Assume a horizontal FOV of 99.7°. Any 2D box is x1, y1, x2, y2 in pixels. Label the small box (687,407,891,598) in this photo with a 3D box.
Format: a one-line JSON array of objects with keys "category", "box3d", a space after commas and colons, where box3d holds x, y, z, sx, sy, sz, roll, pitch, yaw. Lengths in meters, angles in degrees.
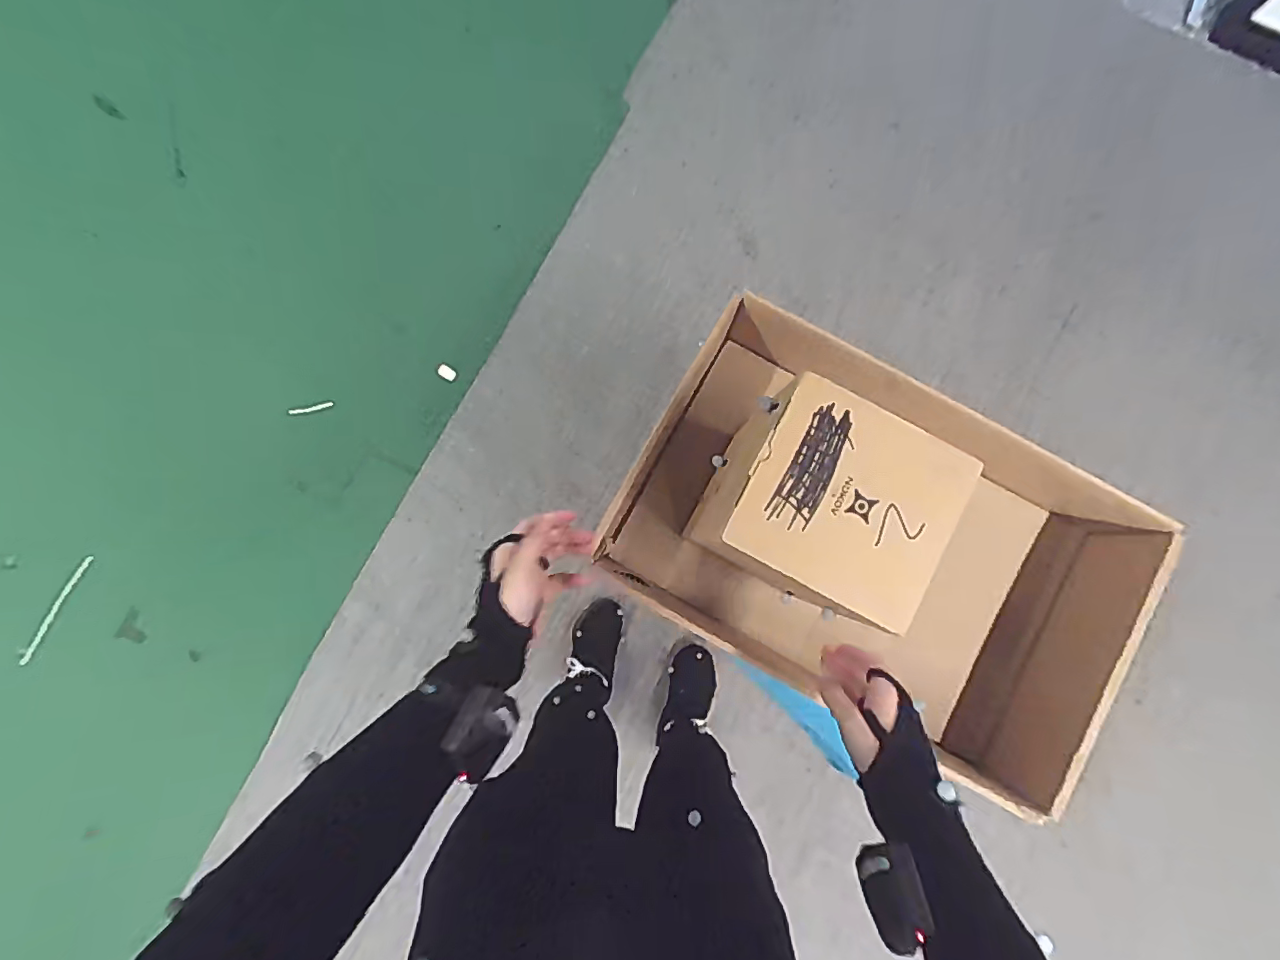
[{"category": "small box", "box3d": [0.175, 0.033, 0.696, 0.179, 0.176, 0.168, 28, 85, 1]}]
